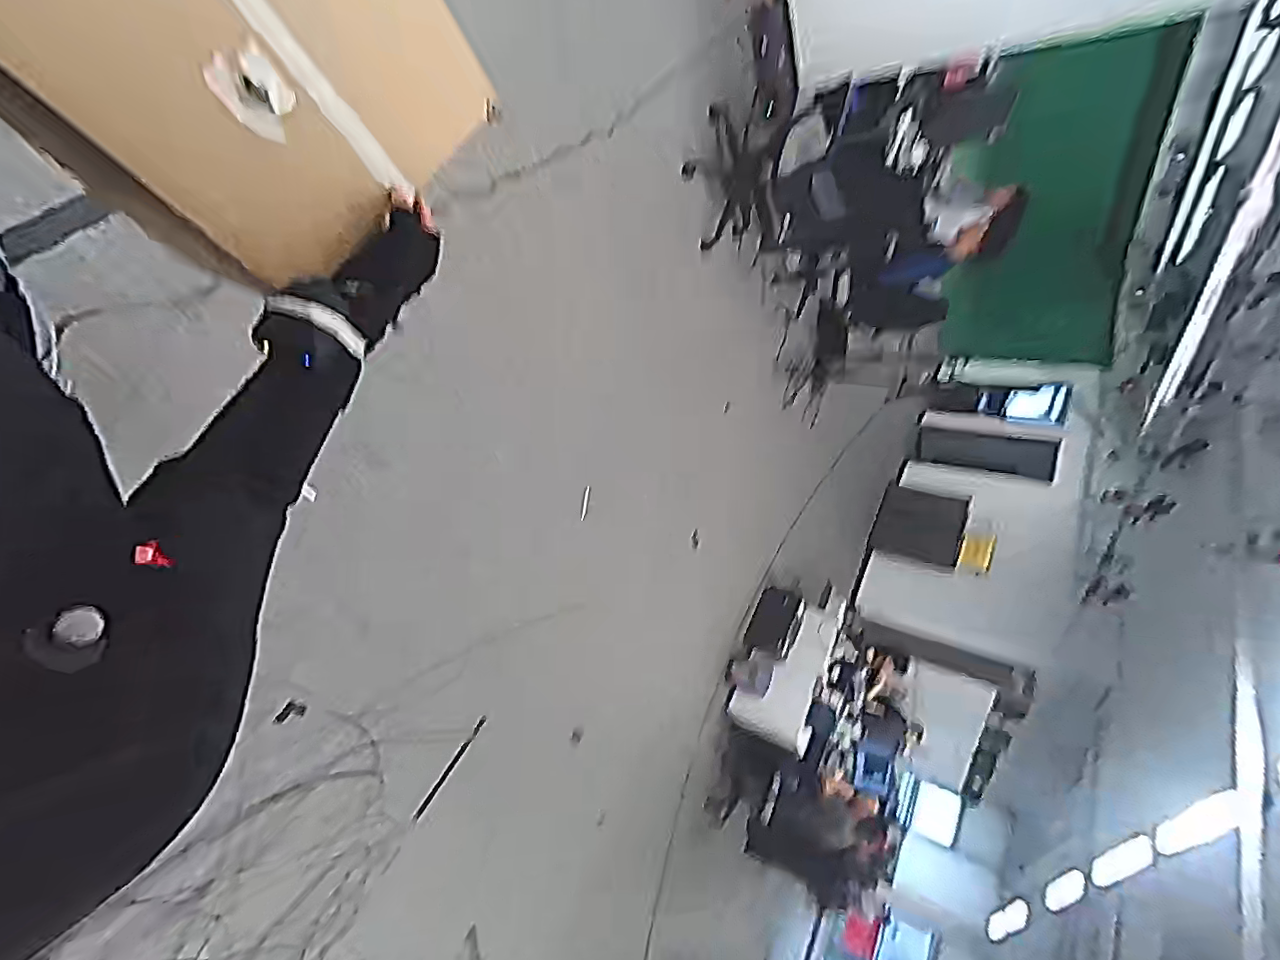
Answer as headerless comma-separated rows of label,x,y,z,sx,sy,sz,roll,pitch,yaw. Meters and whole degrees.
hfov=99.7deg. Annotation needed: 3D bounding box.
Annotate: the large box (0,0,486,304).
large box,-0.431,-0.433,0.472,0.320,0.320,0.408,-56,147,-12
